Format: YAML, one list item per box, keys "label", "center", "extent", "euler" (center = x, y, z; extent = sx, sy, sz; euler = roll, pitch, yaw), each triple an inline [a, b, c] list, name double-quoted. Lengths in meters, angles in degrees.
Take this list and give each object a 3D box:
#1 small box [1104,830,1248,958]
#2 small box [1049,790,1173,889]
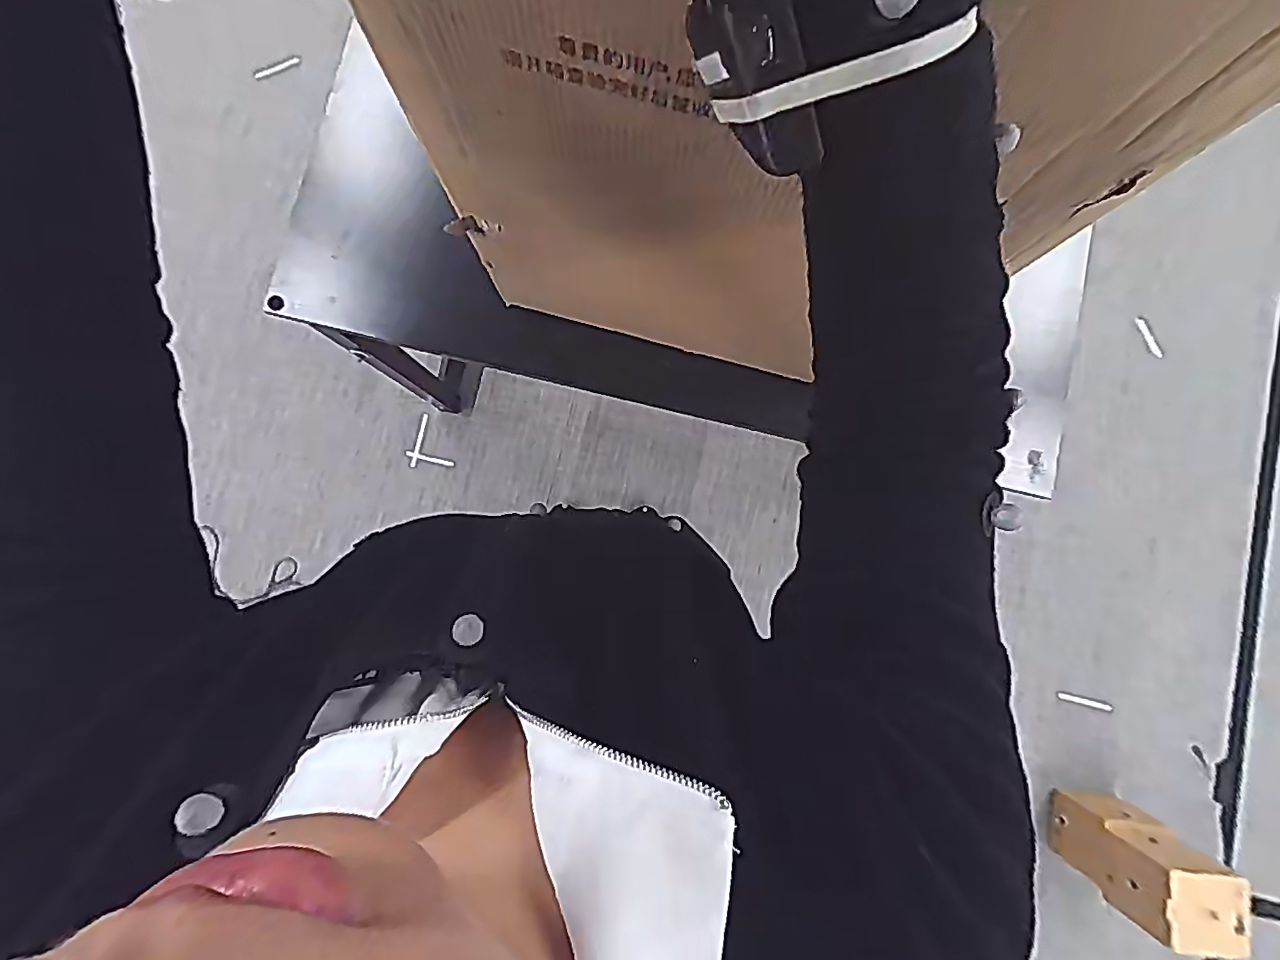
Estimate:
- label: "small box"
  center: [1.212, 0.934, 1.235]
  extent: [0.179, 0.176, 0.168]
  euler: [7, 84, -1]
- label: "small box"
  center: [1.212, 0.931, 1.400]
  extent: [0.179, 0.176, 0.168]
  euler: [8, 84, 0]
